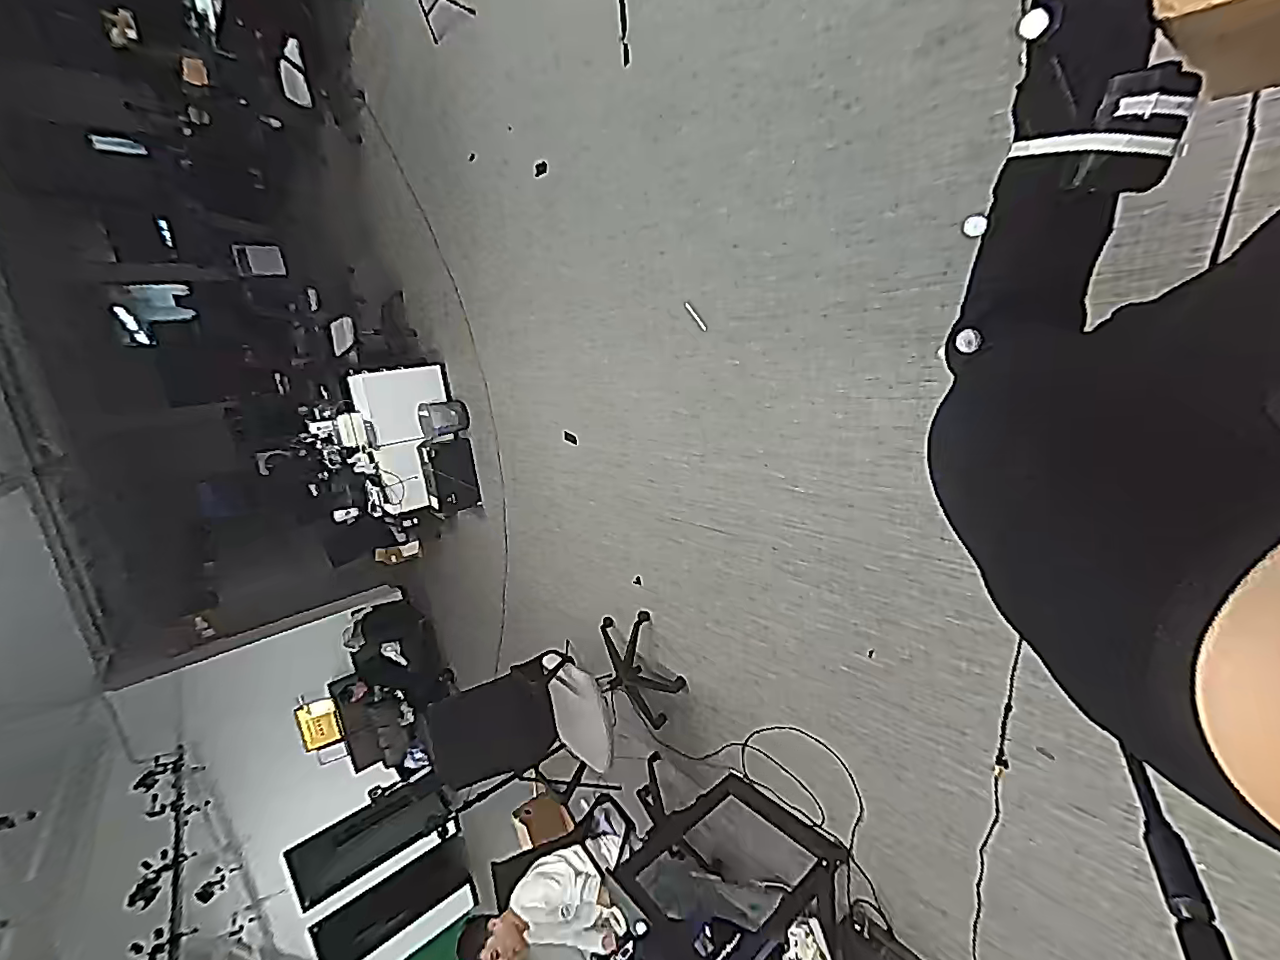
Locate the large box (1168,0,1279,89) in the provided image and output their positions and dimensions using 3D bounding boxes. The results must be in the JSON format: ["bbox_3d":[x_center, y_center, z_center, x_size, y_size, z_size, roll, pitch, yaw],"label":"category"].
[{"bbox_3d":[0.538,-0.431,0.224,0.408,0.320,0.320,16,118,47],"label":"large box"}]
